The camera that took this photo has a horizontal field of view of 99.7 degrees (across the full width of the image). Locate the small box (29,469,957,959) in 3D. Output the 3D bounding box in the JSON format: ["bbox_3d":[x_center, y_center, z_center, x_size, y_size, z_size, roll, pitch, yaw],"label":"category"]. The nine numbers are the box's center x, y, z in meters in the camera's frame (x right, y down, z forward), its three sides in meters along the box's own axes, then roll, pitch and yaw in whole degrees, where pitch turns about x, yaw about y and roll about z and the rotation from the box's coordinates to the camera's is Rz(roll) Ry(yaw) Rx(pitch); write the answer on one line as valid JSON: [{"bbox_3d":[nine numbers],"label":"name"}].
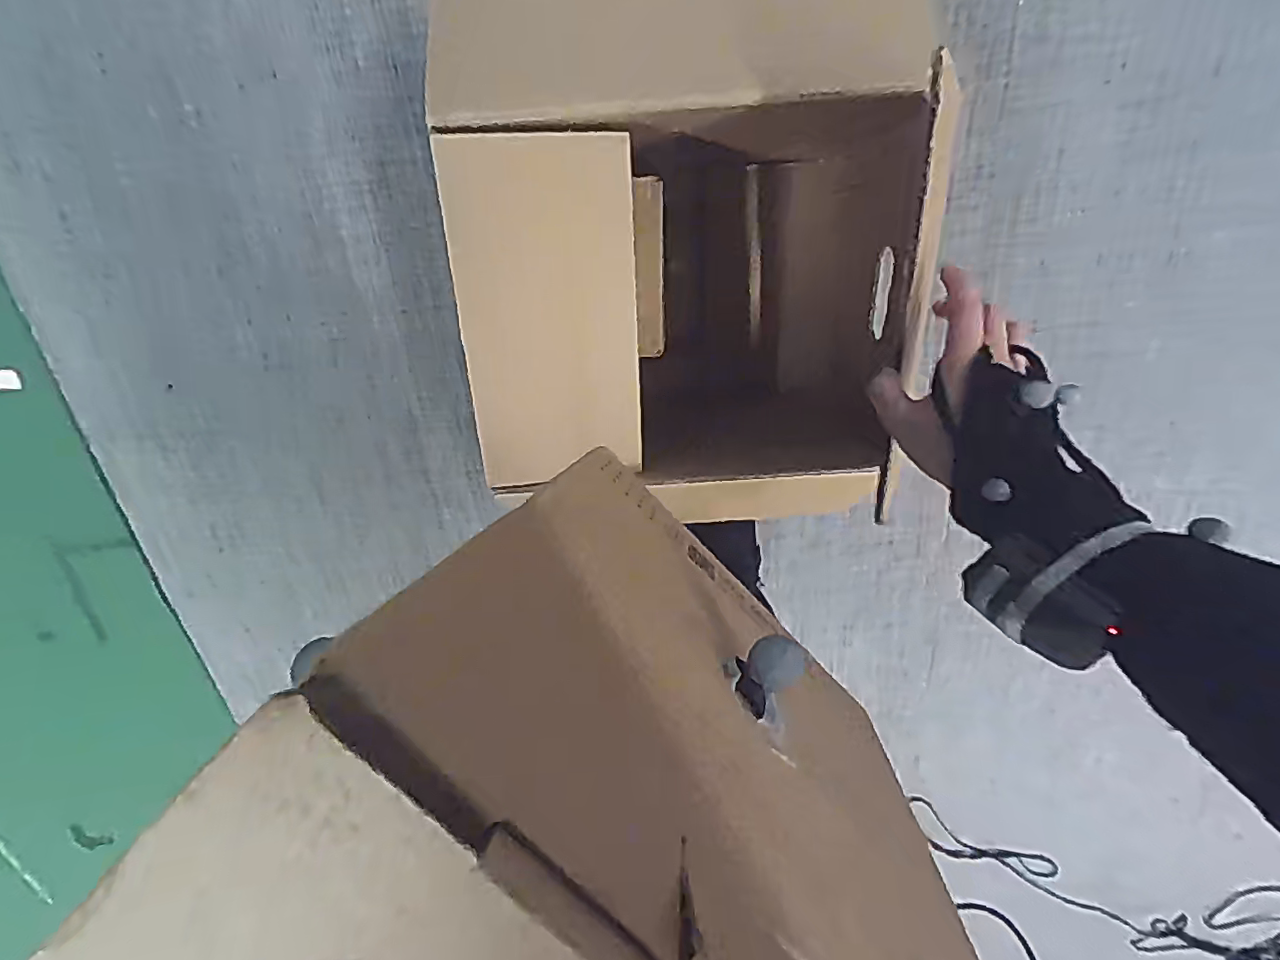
[{"bbox_3d":[-0.031,0.117,0.164,0.179,0.176,0.168,-44,93,13],"label":"small box"}]
